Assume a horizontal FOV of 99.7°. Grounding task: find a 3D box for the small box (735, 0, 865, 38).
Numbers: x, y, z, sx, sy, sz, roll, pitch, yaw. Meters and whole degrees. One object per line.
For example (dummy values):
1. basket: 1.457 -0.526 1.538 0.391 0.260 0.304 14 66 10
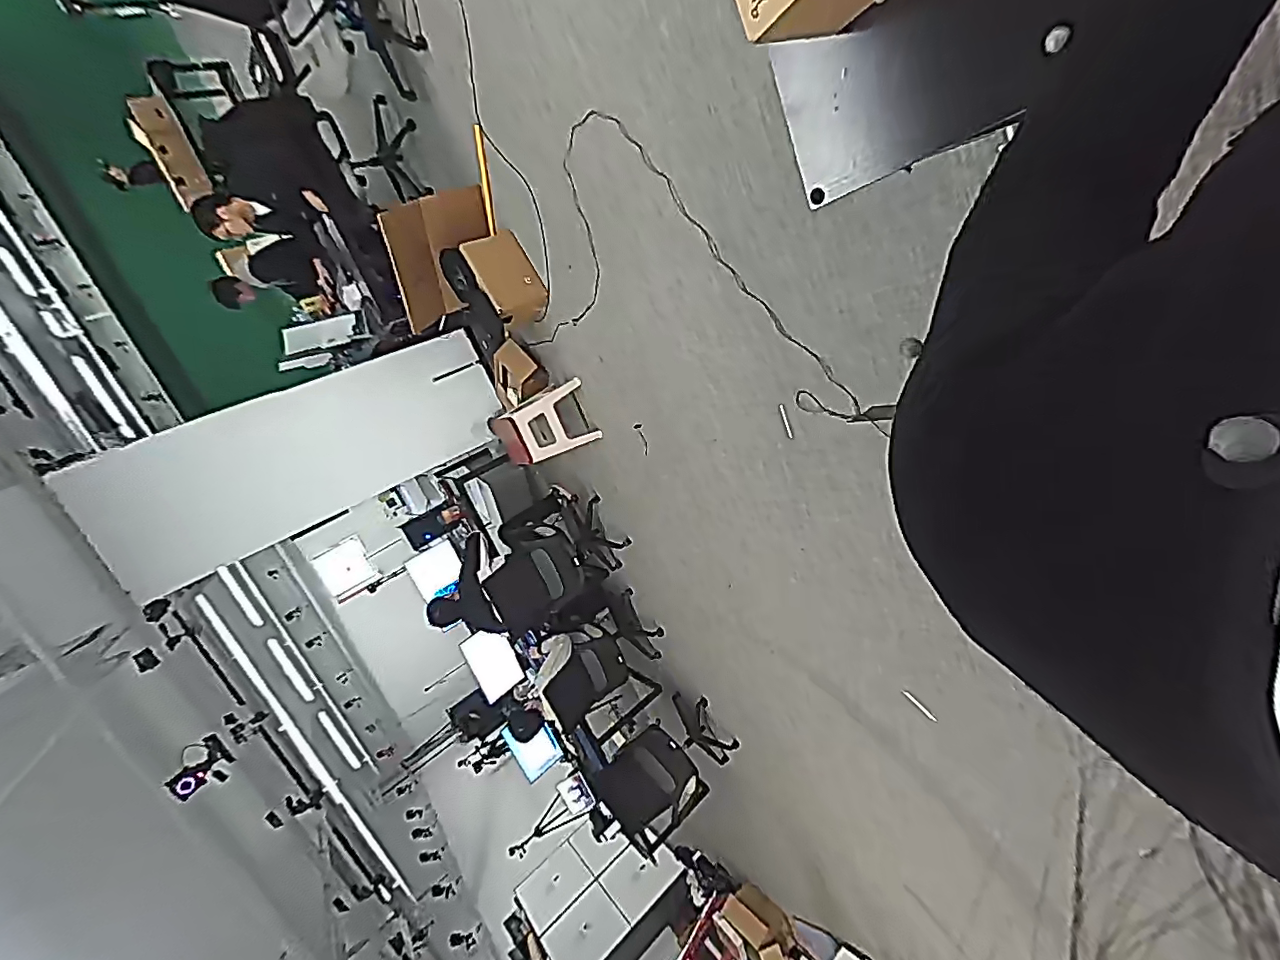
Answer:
1. small box: 0.196 -0.606 0.557 0.179 0.176 0.168 -2 115 56
